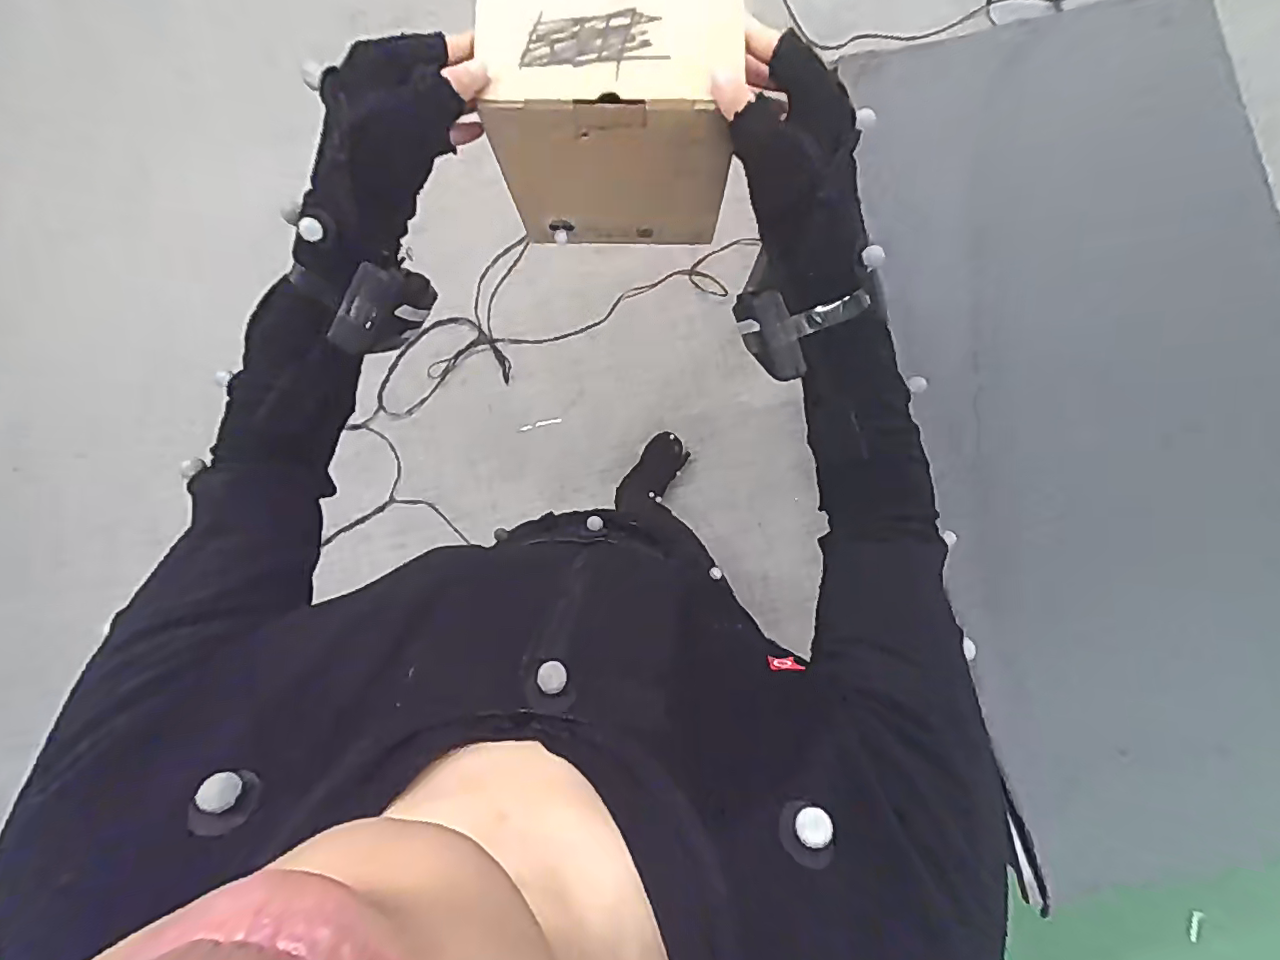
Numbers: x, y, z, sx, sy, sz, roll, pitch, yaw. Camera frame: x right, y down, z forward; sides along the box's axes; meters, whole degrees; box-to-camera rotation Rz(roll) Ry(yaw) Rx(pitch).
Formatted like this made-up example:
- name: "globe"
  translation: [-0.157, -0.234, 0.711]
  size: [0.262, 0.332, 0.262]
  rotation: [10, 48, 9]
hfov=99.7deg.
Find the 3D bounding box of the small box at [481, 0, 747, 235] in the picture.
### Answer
- name: "small box"
  translation: [-0.014, -0.309, 0.414]
  size: [0.168, 0.176, 0.179]
  rotation: [0, 85, 0]
